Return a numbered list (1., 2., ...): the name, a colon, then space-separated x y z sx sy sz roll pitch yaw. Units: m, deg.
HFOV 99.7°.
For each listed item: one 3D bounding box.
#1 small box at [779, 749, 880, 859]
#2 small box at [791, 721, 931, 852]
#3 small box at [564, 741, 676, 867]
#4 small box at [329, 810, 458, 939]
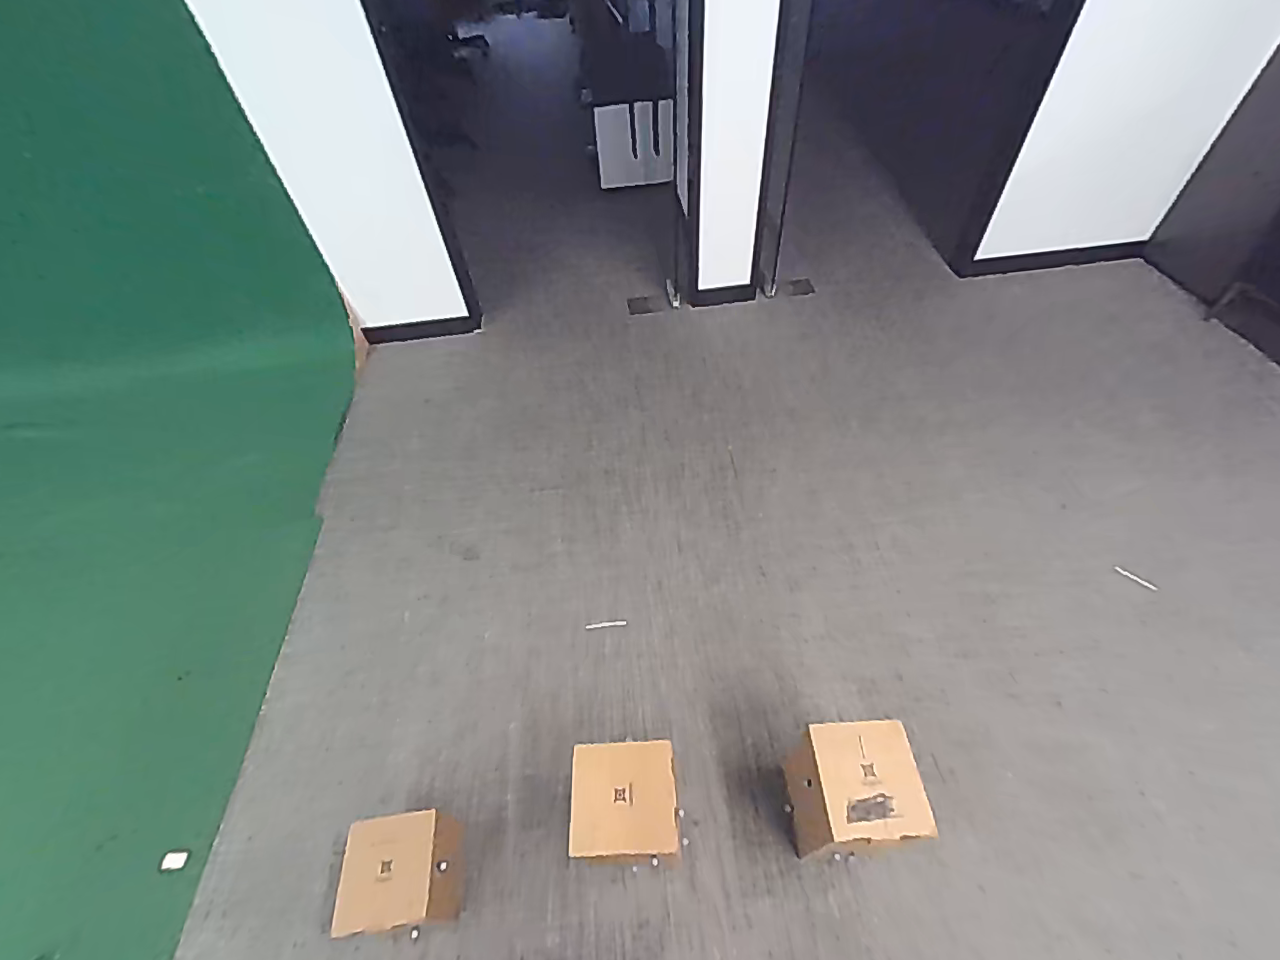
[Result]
1. small box: 0.385 0.647 1.083 0.168 0.176 0.179 -4 50 0
2. small box: 0.375 0.545 0.954 0.168 0.176 0.179 -3 49 1
3. small box: -0.029 0.577 0.959 0.179 0.176 0.168 -3 49 1
4. small box: -0.463 0.764 1.048 0.168 0.176 0.179 -7 49 -3
